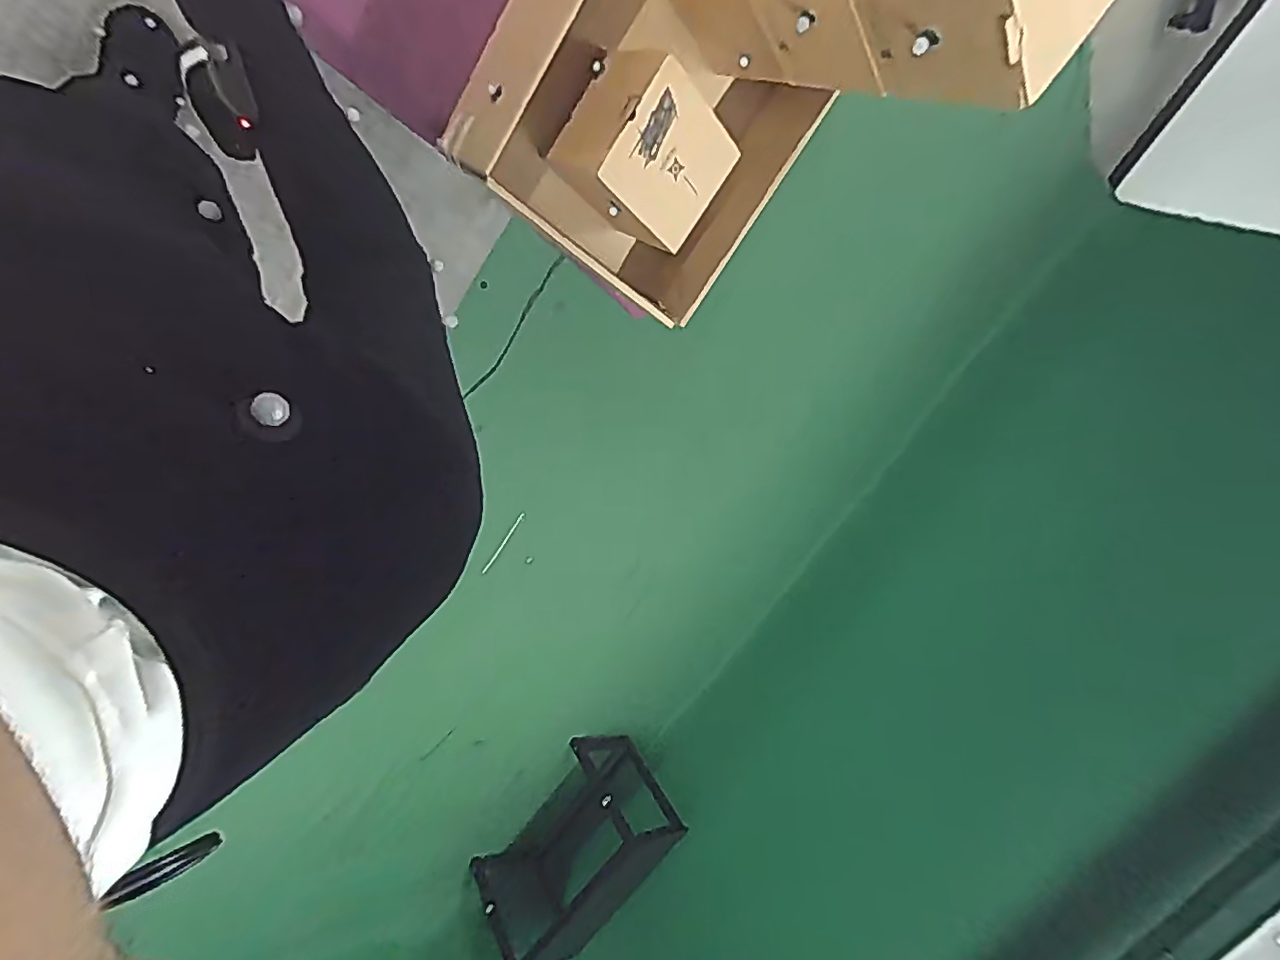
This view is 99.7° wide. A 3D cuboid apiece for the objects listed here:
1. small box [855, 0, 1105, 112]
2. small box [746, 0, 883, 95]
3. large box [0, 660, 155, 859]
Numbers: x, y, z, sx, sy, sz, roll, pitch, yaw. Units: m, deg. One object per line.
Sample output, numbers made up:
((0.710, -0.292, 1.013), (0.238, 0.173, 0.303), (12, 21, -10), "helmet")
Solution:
((0.330, -0.502, 0.518), (0.179, 0.176, 0.168), (-52, 140, 11), "small box")
((0.241, -0.592, 0.623), (0.168, 0.176, 0.179), (25, 106, -48), "small box")
((-1.672, 0.782, 1.516), (0.408, 0.320, 0.320), (-14, 132, -33), "large box")
